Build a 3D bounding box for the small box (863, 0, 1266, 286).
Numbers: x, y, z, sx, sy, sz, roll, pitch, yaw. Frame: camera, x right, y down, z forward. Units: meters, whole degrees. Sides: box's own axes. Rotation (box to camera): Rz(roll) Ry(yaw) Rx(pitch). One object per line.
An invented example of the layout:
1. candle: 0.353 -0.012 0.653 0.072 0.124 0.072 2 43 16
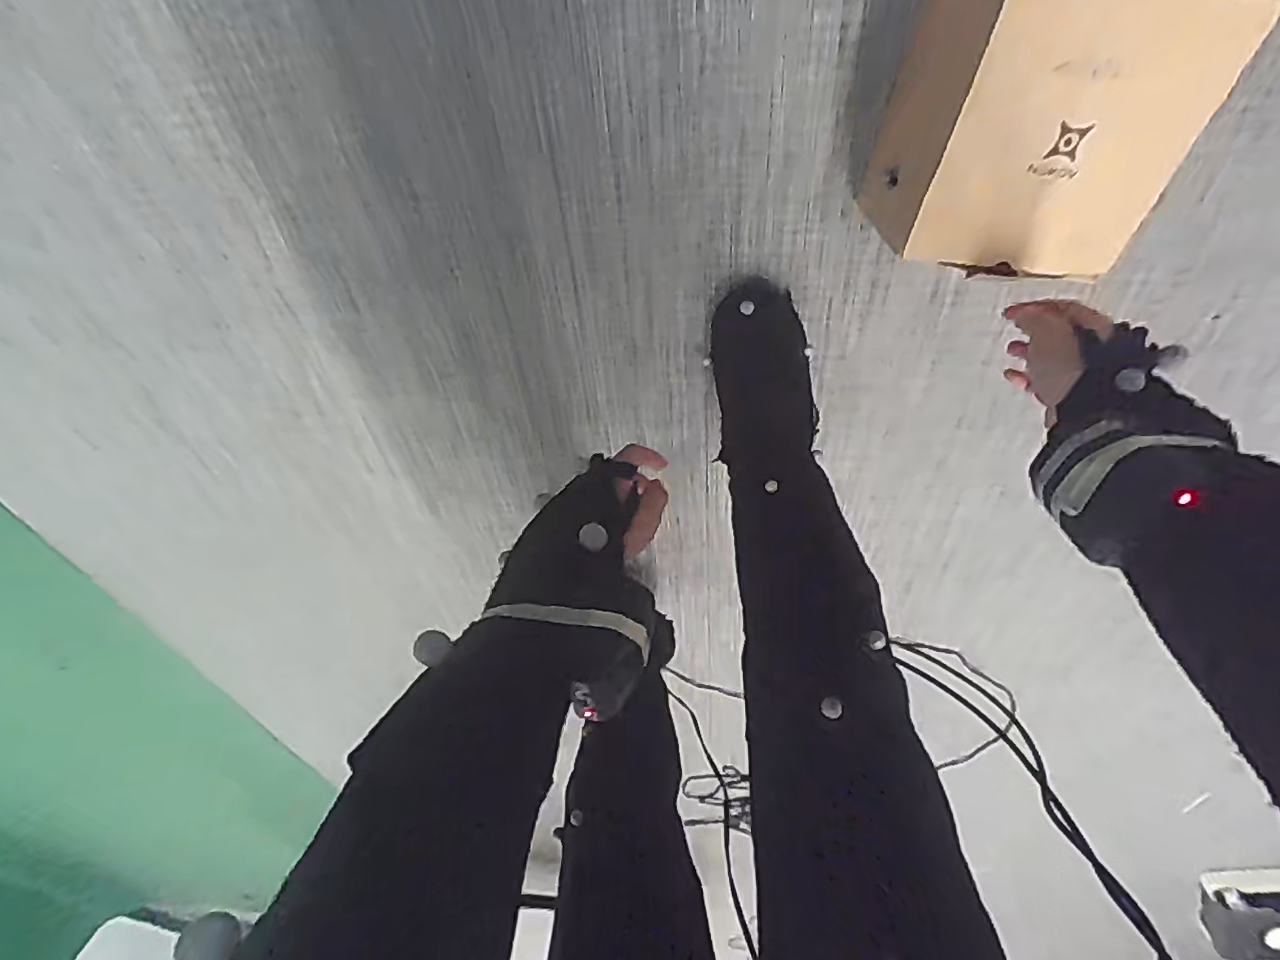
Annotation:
1. small box: 0.301 -0.284 0.443 0.168 0.176 0.179 7 130 0
